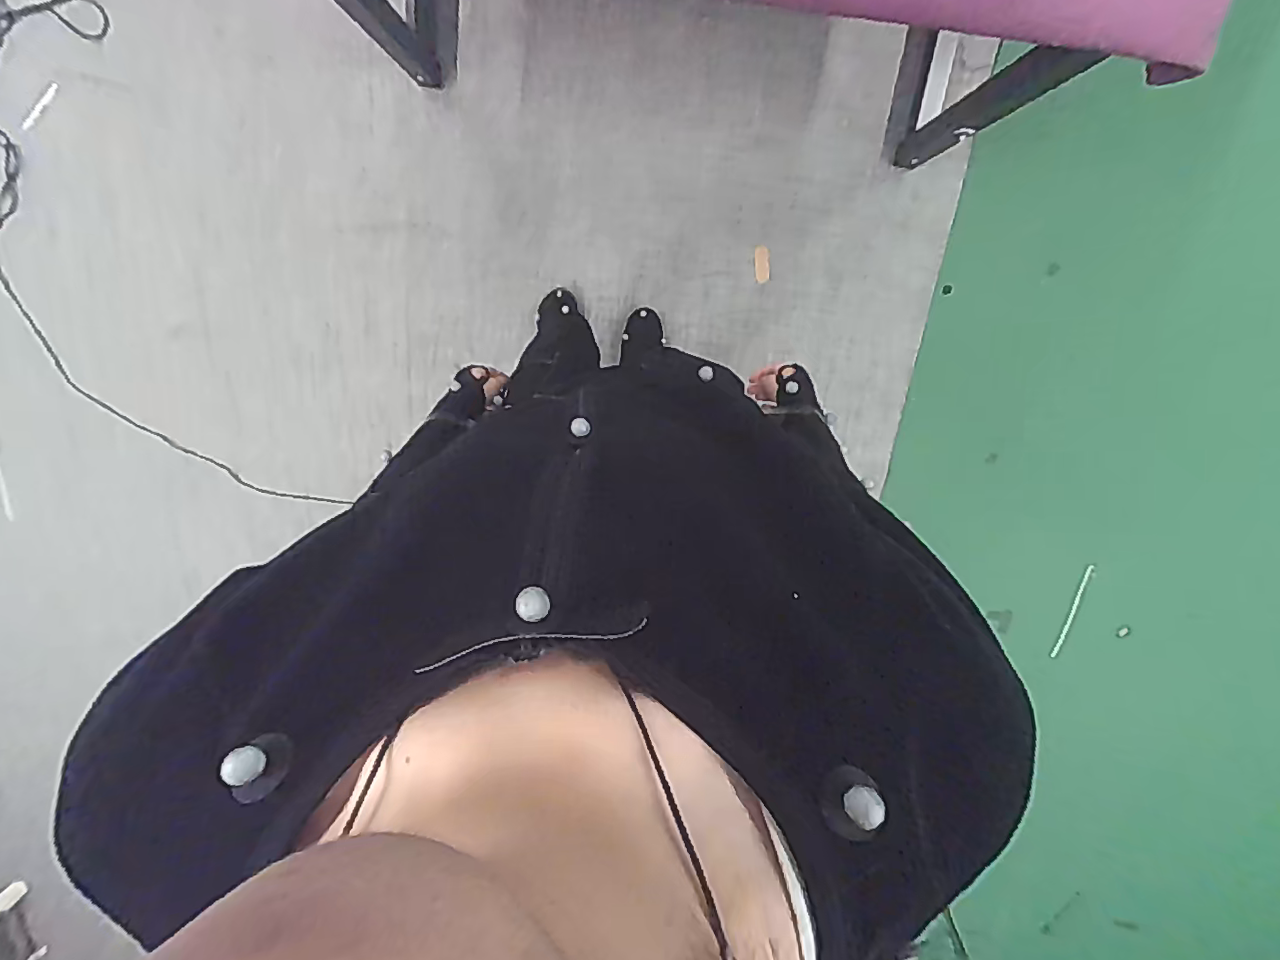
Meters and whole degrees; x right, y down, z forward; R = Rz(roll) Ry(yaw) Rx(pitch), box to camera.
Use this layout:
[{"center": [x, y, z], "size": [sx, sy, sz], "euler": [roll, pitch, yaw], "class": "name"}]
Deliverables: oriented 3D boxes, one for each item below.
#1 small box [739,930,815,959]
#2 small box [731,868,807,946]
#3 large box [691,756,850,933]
[{"center": [0.333, 1.212, 1.275], "size": [0.179, 0.176, 0.168], "euler": [-7, 105, 3], "class": "small box"}, {"center": [0.339, 1.165, 1.432], "size": [0.168, 0.176, 0.179], "euler": [-6, 105, 3], "class": "small box"}, {"center": [0.386, 1.107, 1.668], "size": [0.408, 0.320, 0.320], "euler": [-7, 107, 2], "class": "large box"}]
